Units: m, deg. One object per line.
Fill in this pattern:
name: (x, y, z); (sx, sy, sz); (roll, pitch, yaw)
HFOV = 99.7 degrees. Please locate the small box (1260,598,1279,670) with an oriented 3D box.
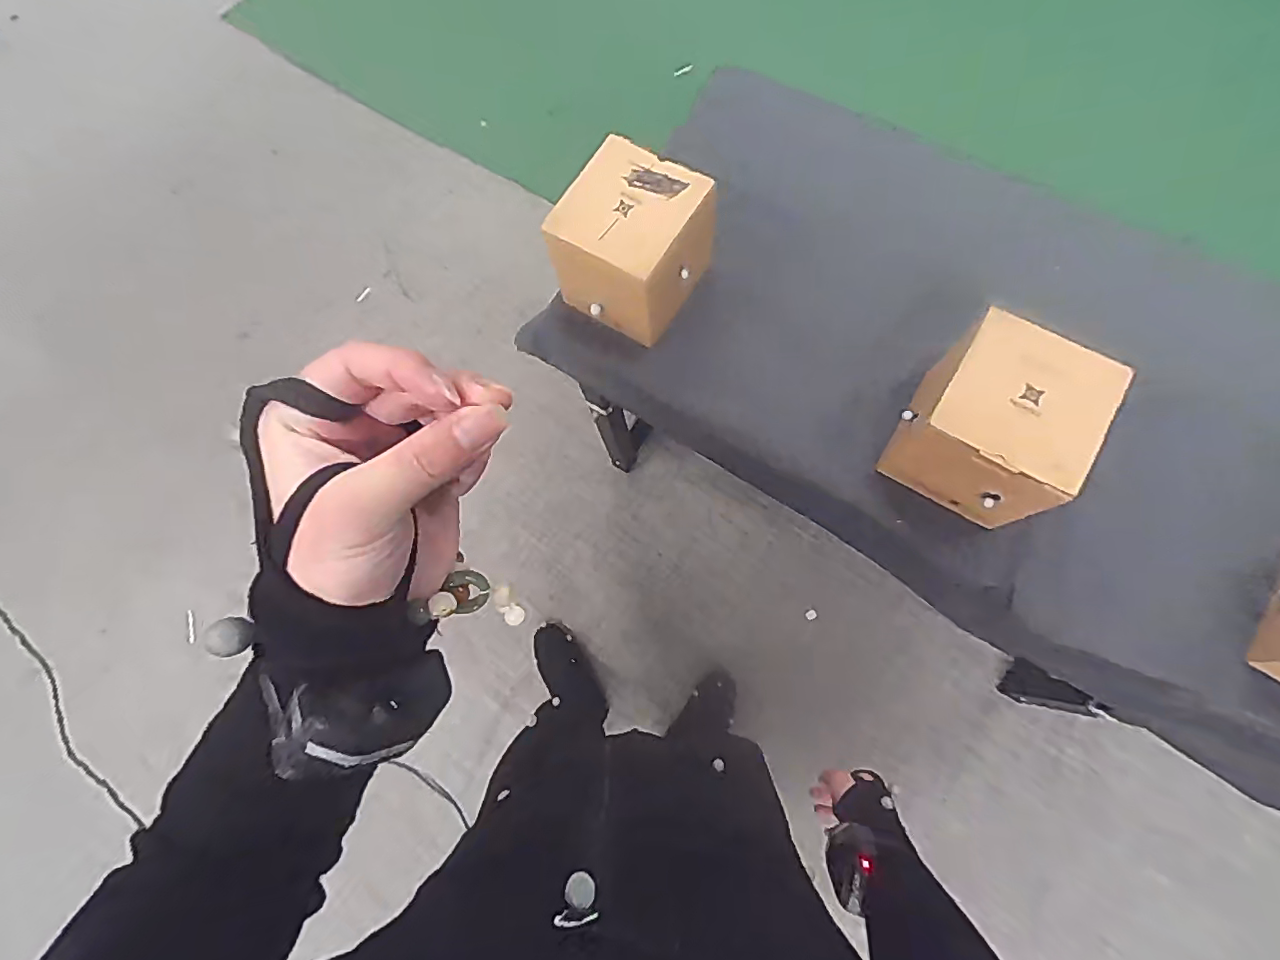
small box: (0.826, 0.167, 0.558); (0.168, 0.176, 0.179); (33, 79, 15)

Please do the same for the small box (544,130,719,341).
small box: (-0.007, -0.336, 0.768); (0.168, 0.176, 0.179); (31, 79, 12)

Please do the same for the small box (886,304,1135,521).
small box: (0.431, -0.070, 0.663); (0.168, 0.176, 0.179); (31, 77, 11)
